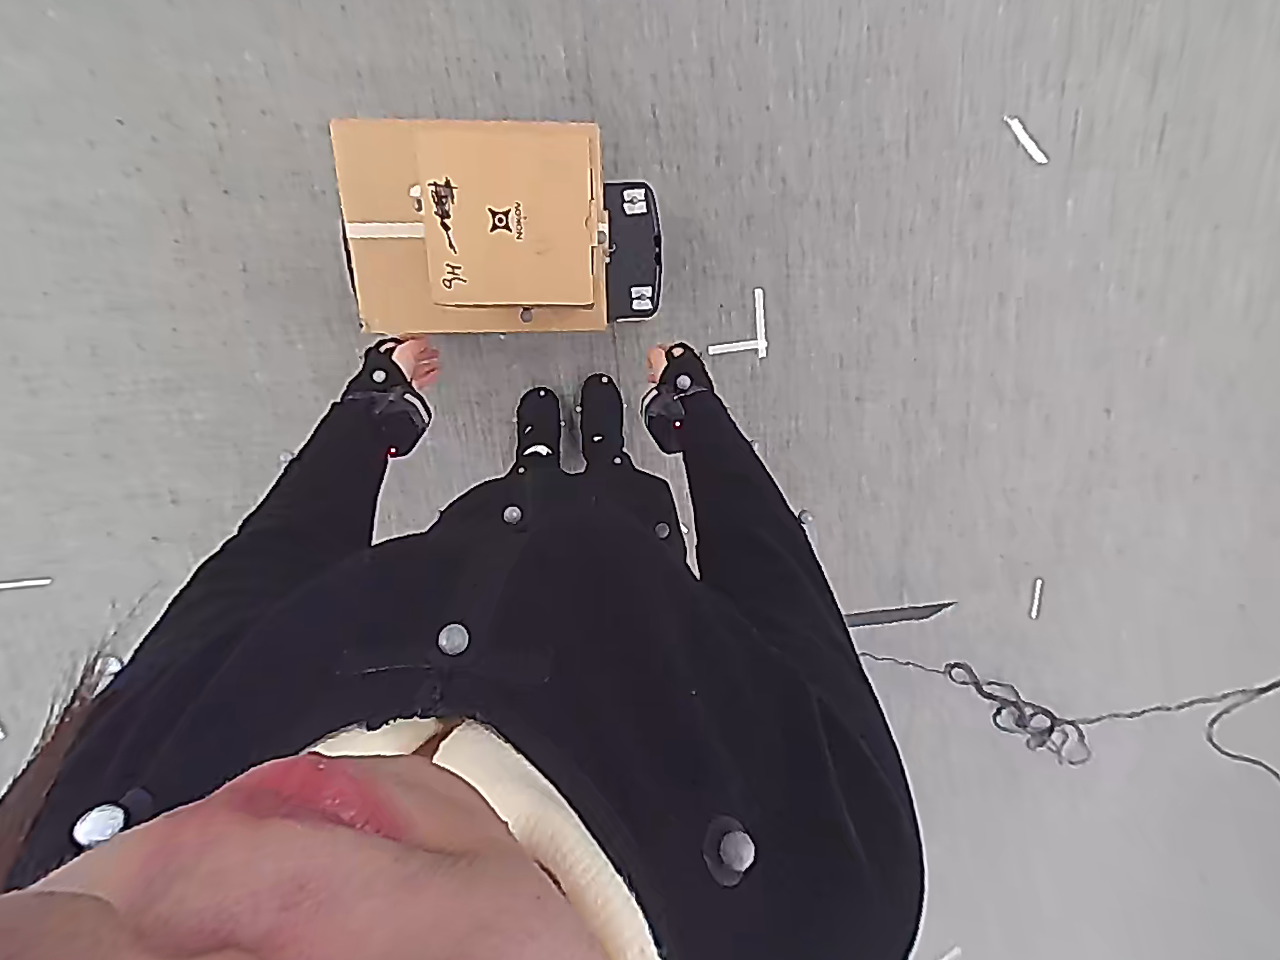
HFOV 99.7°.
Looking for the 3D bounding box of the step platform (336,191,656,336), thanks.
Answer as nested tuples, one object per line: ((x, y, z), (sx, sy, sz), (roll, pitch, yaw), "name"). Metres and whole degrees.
((-0.305, -0.483, 1.230), (0.684, 0.204, 0.286), (0, 106, -5), "step platform")

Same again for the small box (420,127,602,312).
((-0.137, -0.285, 0.628), (0.179, 0.176, 0.168), (-1, 106, -6), "small box")

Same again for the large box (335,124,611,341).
((-0.264, -0.429, 1.001), (0.408, 0.320, 0.320), (-2, 105, -4), "large box")
